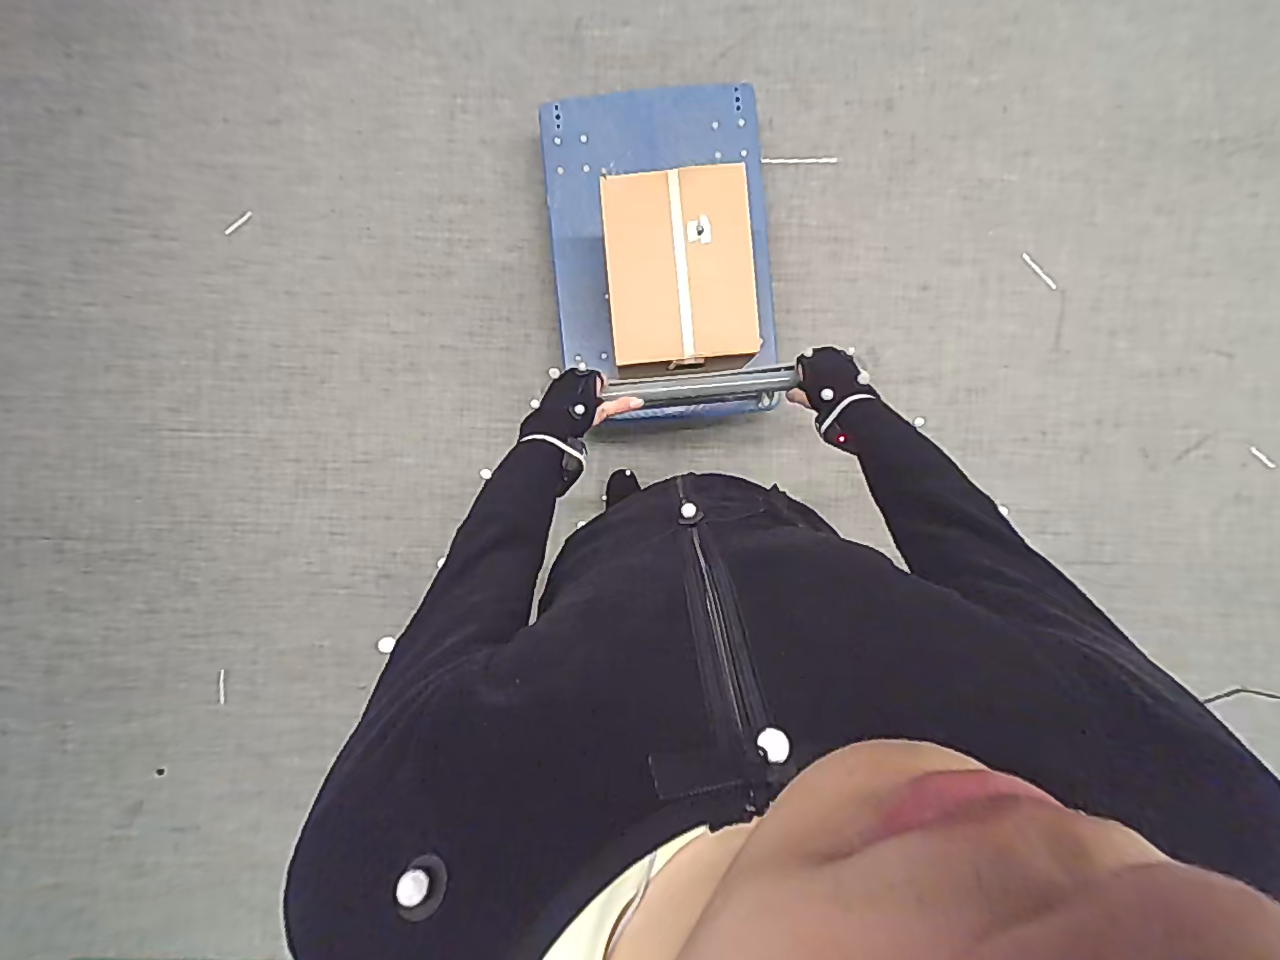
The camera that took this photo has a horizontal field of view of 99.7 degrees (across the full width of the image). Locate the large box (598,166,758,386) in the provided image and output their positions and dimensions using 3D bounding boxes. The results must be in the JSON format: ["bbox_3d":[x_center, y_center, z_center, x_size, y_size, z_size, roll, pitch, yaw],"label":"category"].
[{"bbox_3d":[0.085,-0.462,1.308,0.320,0.320,0.408,-5,91,0],"label":"large box"}]
